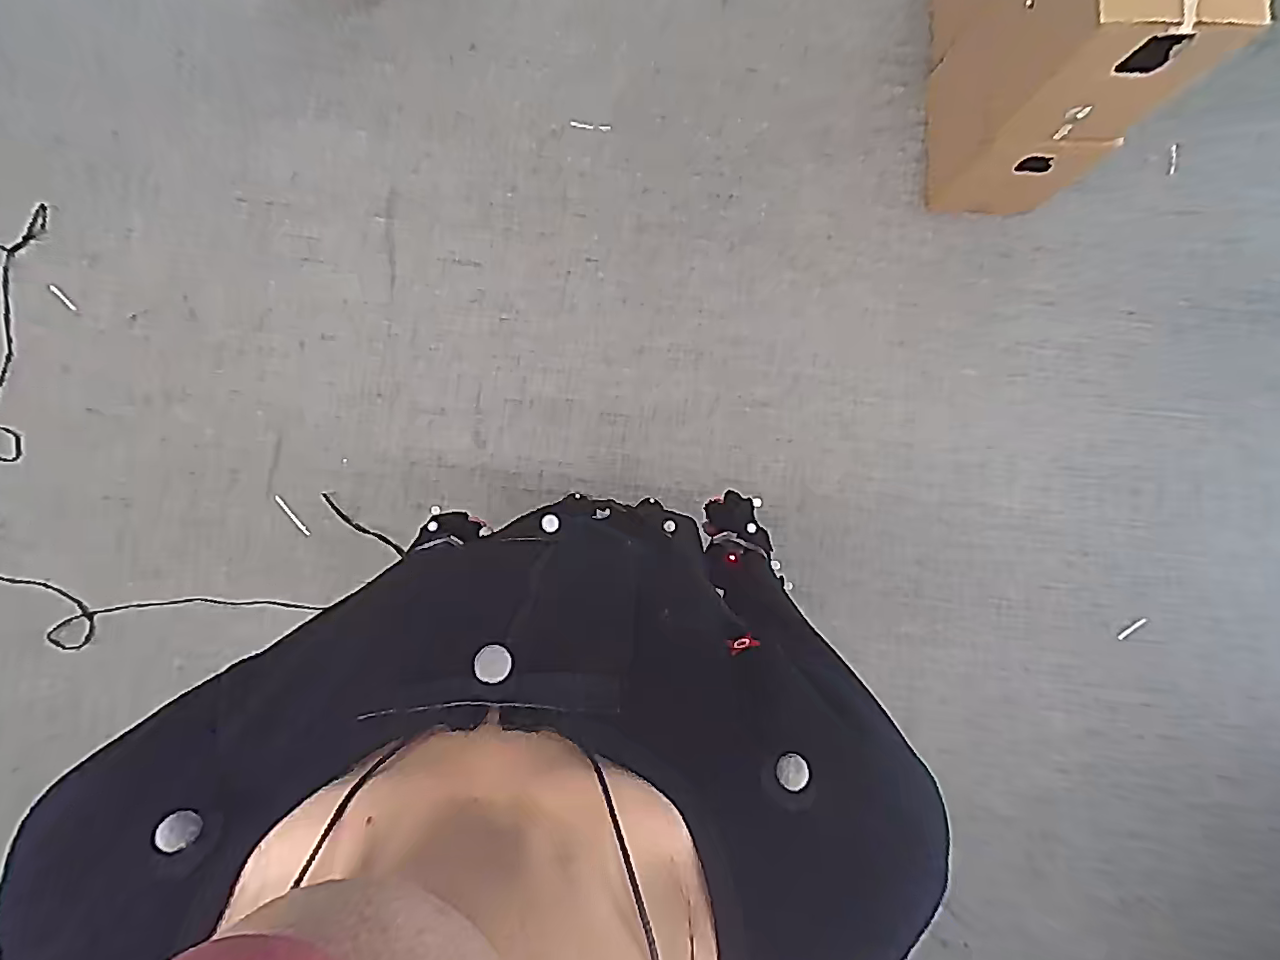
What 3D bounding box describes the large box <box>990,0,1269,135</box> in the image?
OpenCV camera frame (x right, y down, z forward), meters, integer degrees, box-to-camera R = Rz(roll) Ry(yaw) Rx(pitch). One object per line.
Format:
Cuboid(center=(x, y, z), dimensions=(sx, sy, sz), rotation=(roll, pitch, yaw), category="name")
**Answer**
Cuboid(center=(0.987, -1.019, 1.138), dimensions=(0.320, 0.320, 0.408), rotation=(1, 86, 0), category="large box")
